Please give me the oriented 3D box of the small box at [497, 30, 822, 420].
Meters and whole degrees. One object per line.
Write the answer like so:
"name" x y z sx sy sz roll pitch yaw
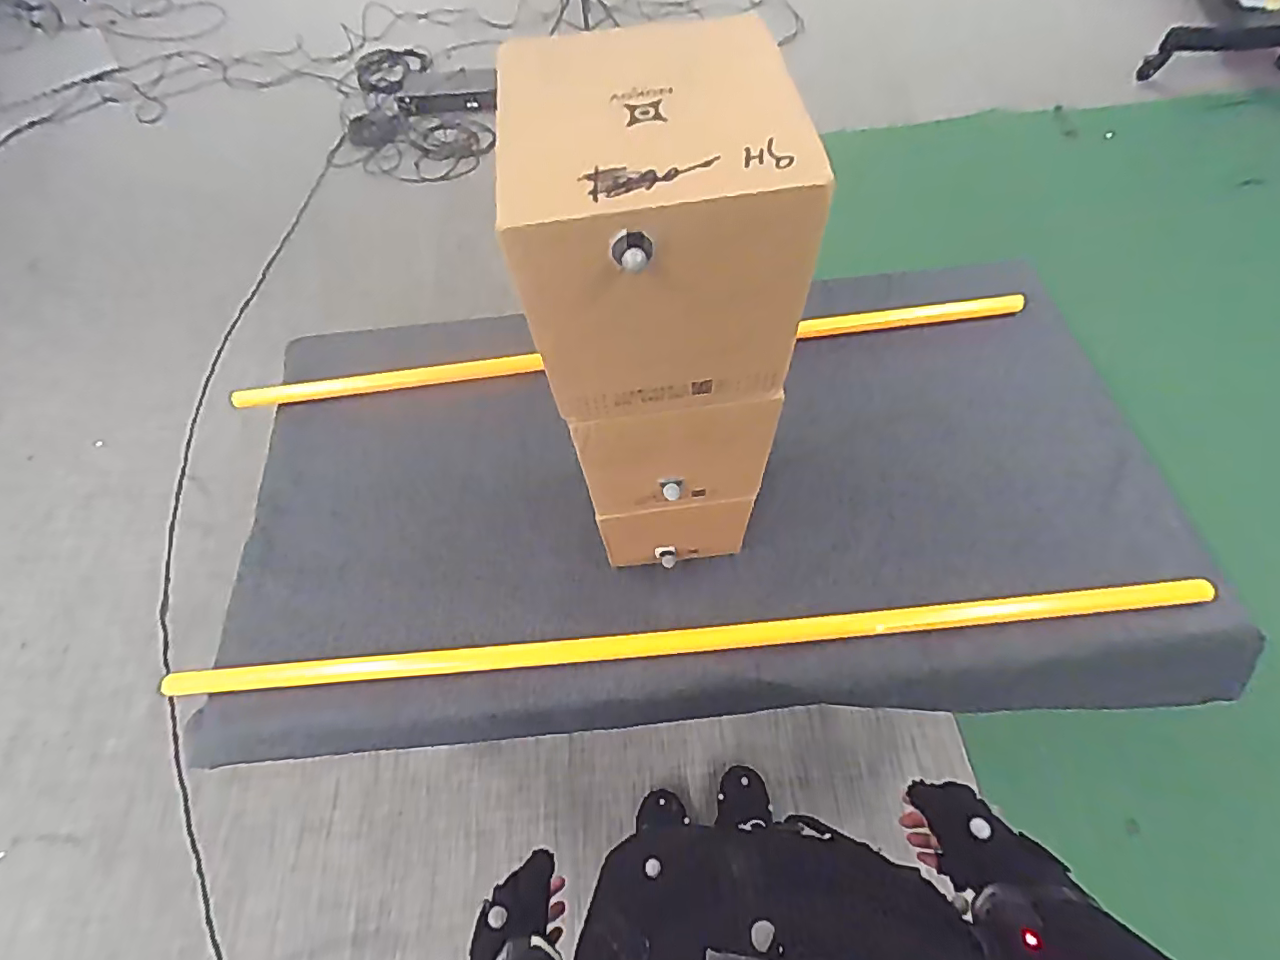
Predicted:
"small box" 0.008 -0.166 0.378 0.168 0.176 0.179 -8 61 2

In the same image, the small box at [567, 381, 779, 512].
"small box" 0.023 -0.088 0.521 0.168 0.176 0.179 -7 62 1

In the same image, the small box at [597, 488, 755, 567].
"small box" 0.034 -0.009 0.665 0.168 0.176 0.179 -9 63 1
